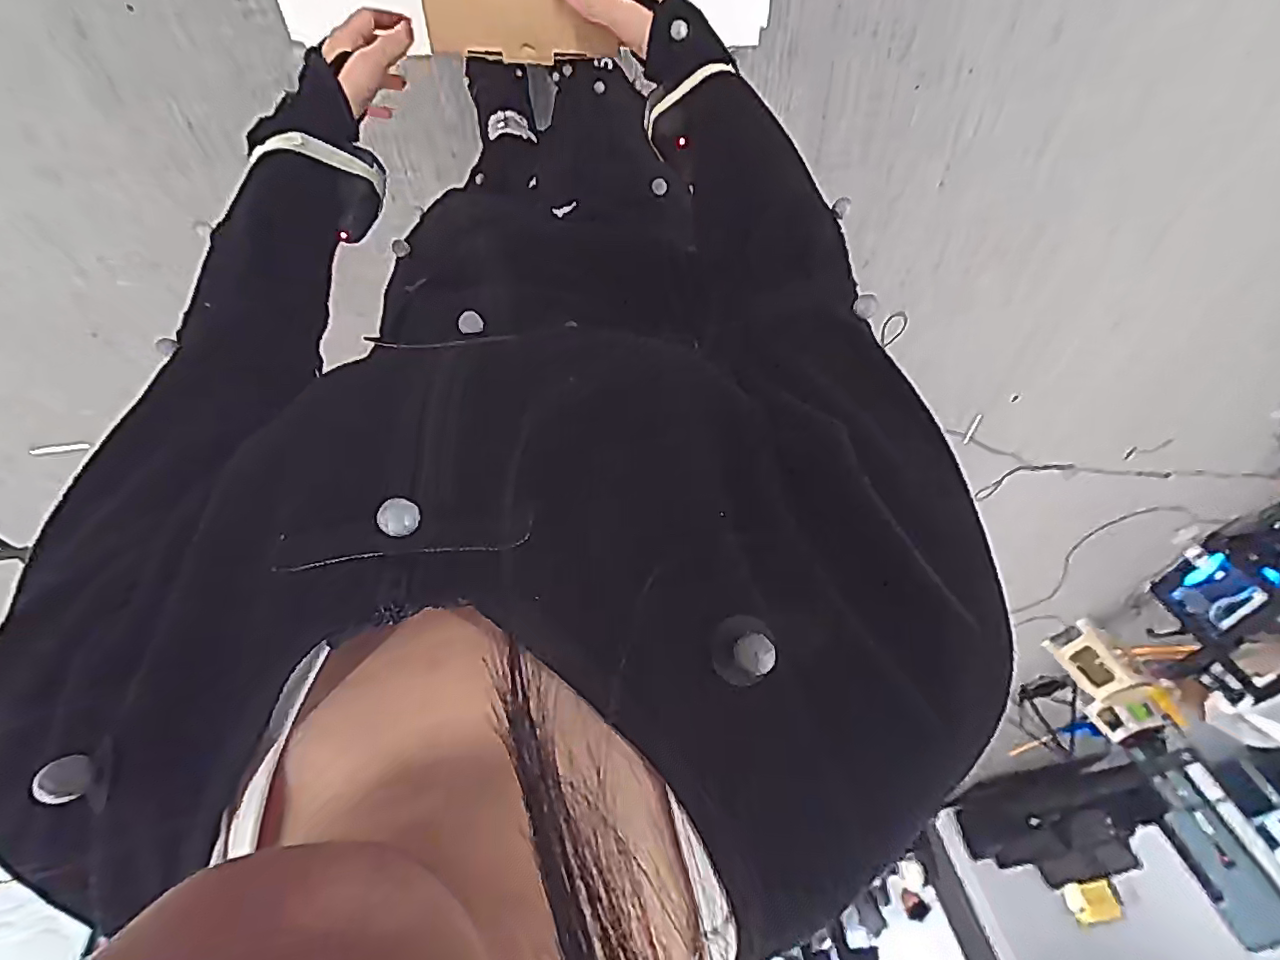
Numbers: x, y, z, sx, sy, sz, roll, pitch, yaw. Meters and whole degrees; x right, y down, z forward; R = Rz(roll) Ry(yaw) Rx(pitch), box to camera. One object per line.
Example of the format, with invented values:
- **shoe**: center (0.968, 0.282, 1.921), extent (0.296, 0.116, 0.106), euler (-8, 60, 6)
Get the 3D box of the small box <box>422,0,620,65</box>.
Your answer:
- **small box**: center (-0.106, -0.486, 0.470), extent (0.168, 0.176, 0.179), euler (-5, 136, -8)
